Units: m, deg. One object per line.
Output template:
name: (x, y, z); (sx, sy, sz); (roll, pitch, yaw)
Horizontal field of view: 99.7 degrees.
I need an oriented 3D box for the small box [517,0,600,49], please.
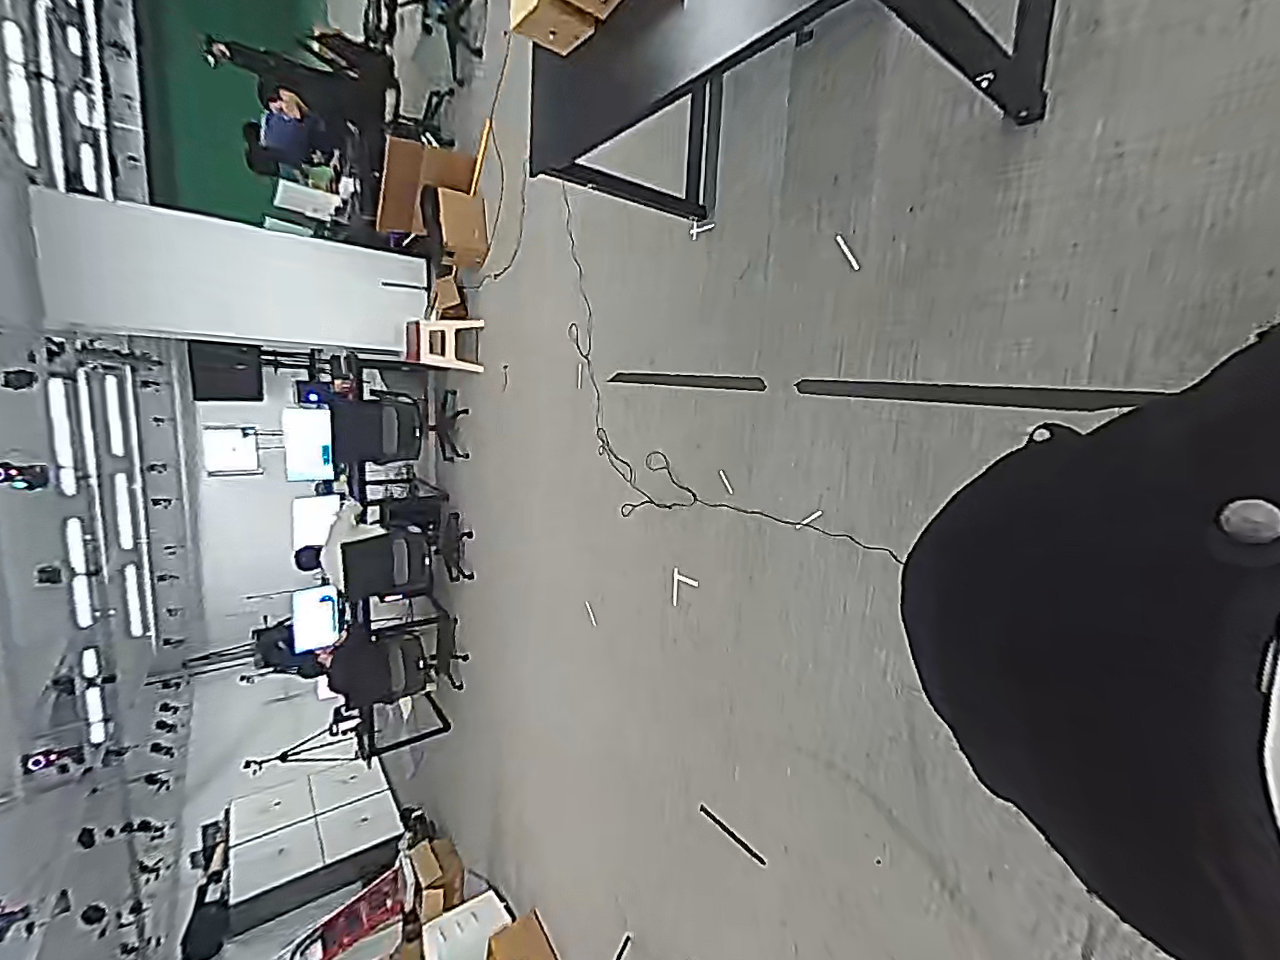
small box: (-0.210, -1.276, 1.419); (0.168, 0.176, 0.179); (20, 108, 50)
